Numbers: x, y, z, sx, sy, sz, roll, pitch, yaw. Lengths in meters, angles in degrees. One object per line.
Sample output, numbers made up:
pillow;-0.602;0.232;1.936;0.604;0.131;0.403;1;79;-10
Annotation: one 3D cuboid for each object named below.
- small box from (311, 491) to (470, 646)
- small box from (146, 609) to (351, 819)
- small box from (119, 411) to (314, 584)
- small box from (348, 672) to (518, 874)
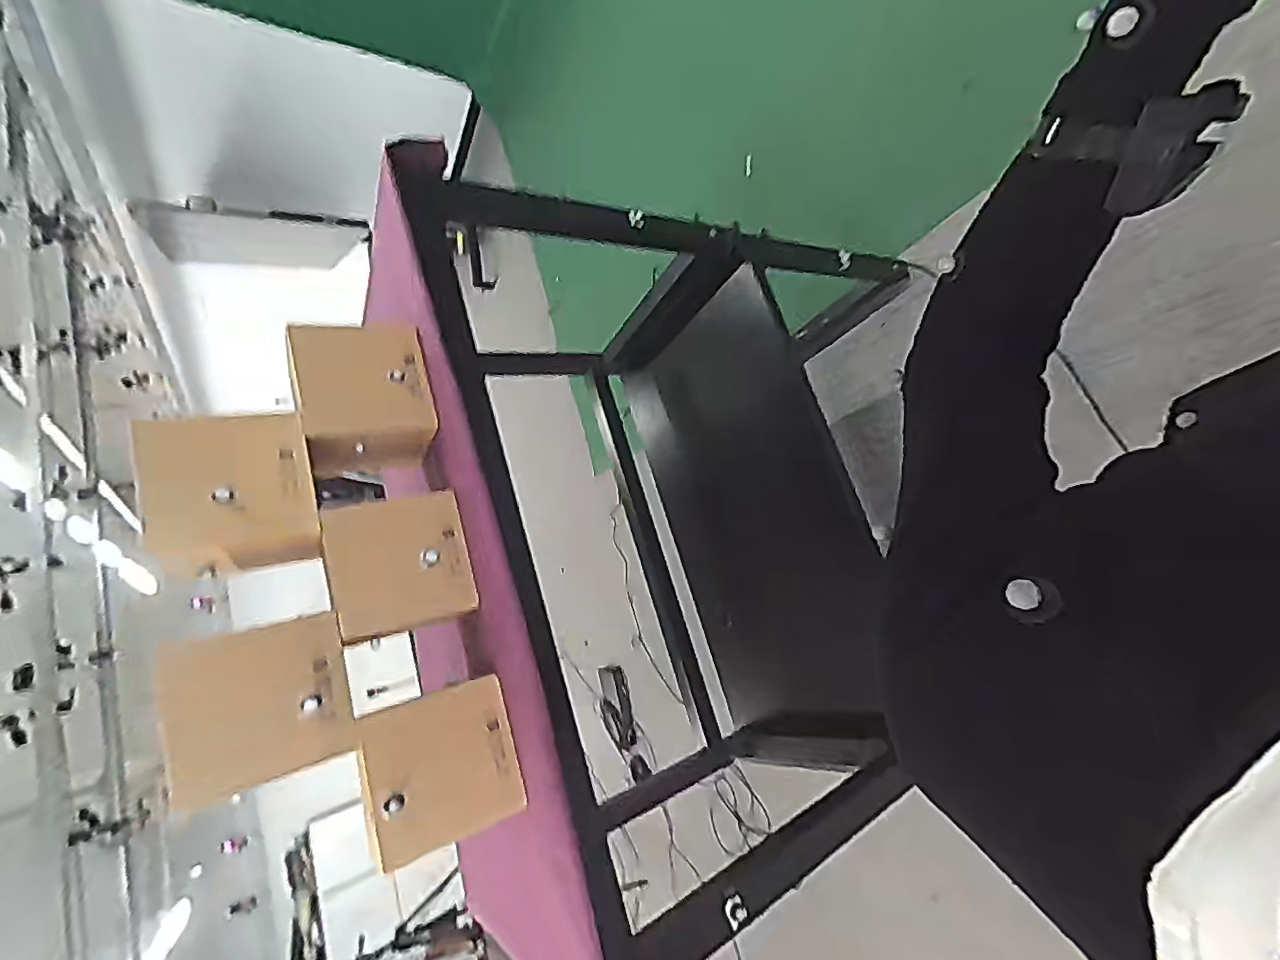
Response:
small box;-0.351;0.126;0.757;0.179;0.176;0.168;-34;70;53
small box;-0.449;0.262;0.643;0.179;0.176;0.168;-32;72;54
small box;-0.523;0.021;0.694;0.179;0.176;0.168;-34;70;54
small box;-0.273;0.360;0.700;0.179;0.176;0.168;-37;68;54
